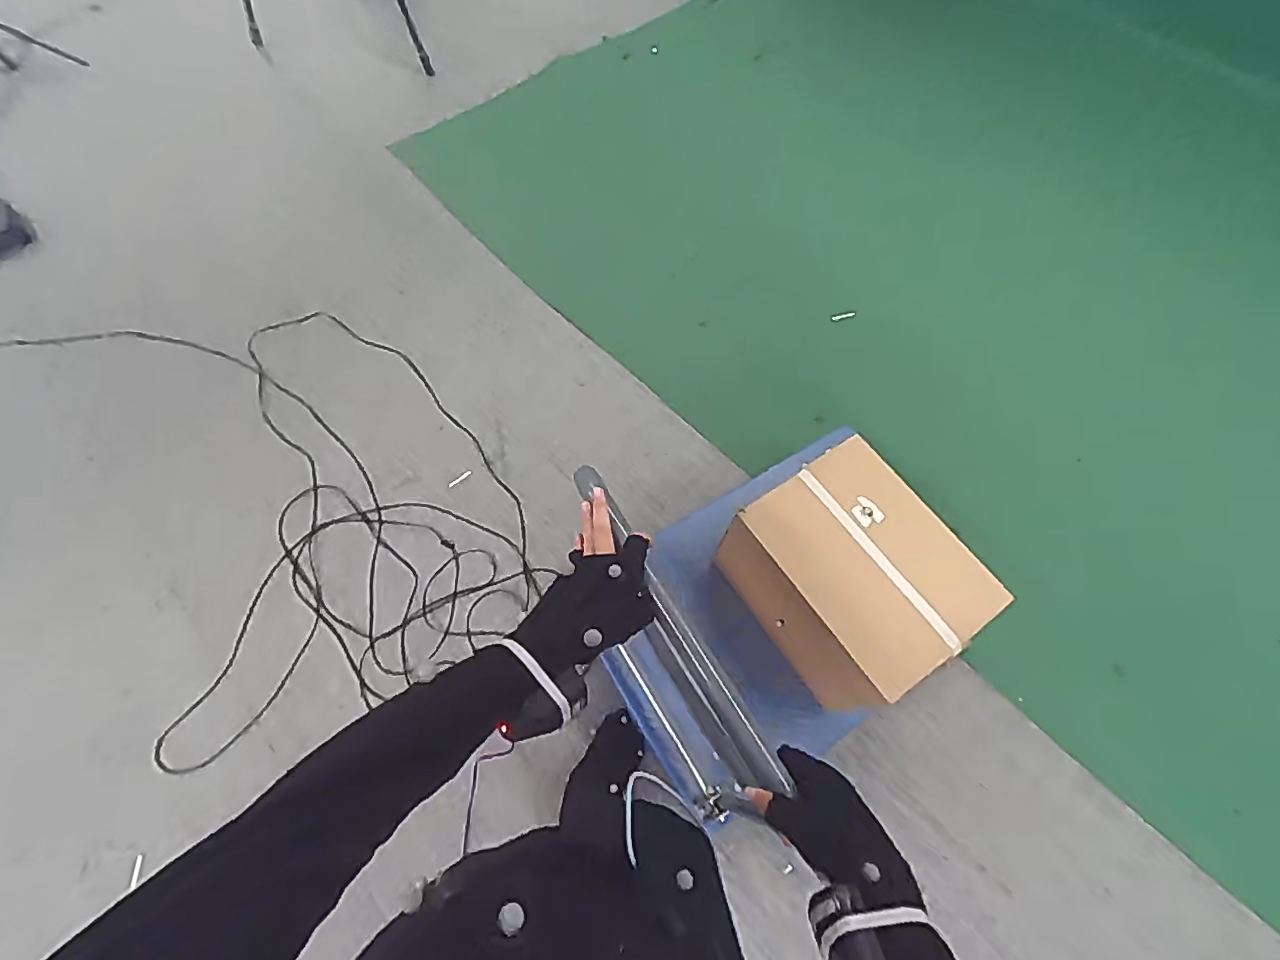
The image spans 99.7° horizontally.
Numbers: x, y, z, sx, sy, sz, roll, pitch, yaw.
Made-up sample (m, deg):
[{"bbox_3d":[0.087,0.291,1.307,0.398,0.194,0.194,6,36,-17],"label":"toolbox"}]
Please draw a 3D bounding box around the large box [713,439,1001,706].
[{"bbox_3d":[0.409,0.201,1.126,0.320,0.320,0.408,-31,69,-16],"label":"large box"}]
